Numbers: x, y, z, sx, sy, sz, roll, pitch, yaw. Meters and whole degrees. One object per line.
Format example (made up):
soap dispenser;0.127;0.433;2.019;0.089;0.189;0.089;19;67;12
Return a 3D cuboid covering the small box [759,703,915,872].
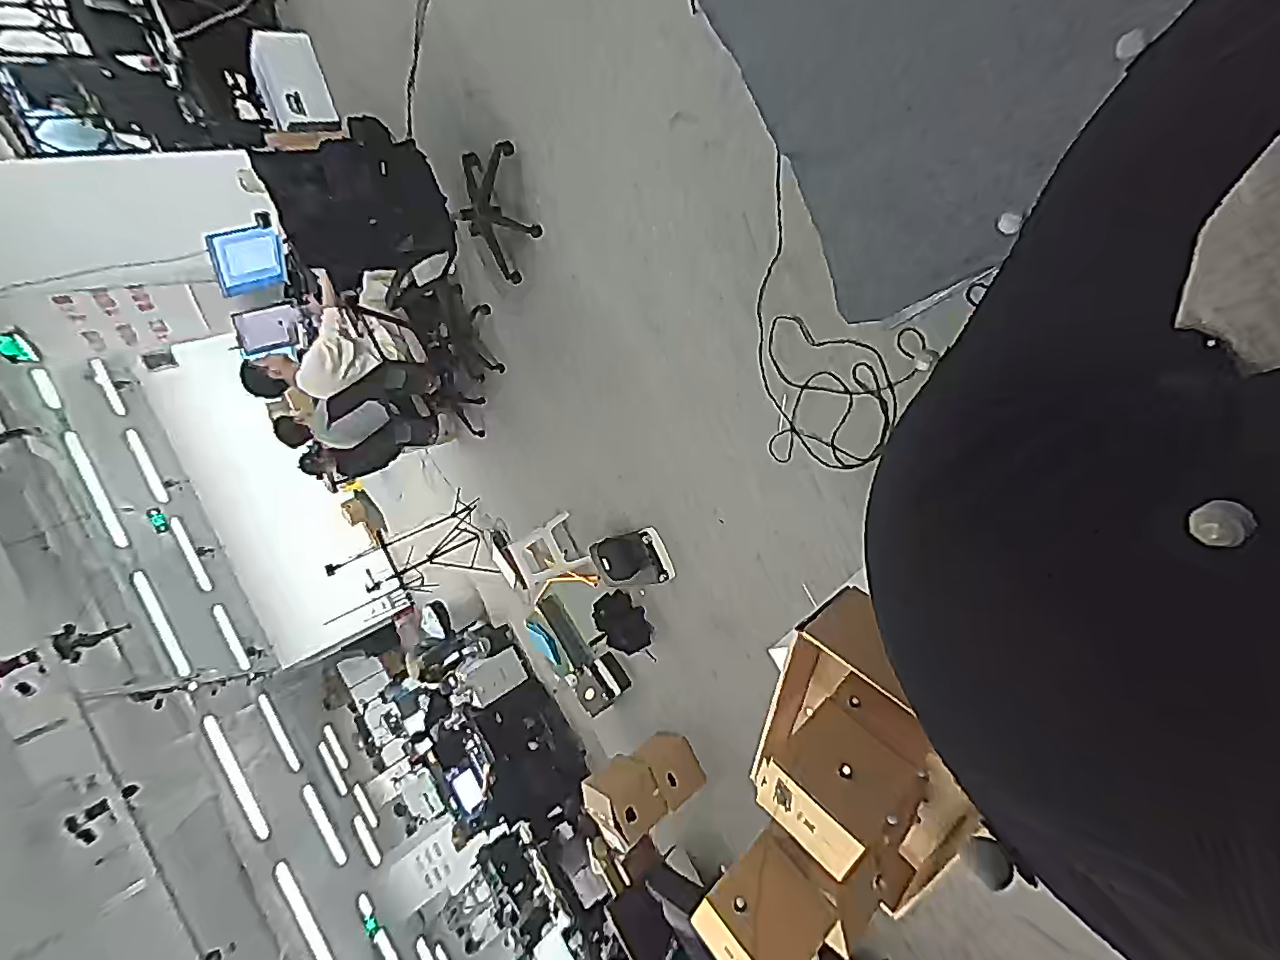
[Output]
small box;0.339;0.524;0.948;0.179;0.176;0.168;35;141;34

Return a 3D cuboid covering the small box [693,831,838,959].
small box;0.227;0.789;0.995;0.179;0.176;0.168;38;140;31

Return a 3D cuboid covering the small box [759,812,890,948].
small box;0.367;0.747;1.076;0.179;0.176;0.168;6;117;50
